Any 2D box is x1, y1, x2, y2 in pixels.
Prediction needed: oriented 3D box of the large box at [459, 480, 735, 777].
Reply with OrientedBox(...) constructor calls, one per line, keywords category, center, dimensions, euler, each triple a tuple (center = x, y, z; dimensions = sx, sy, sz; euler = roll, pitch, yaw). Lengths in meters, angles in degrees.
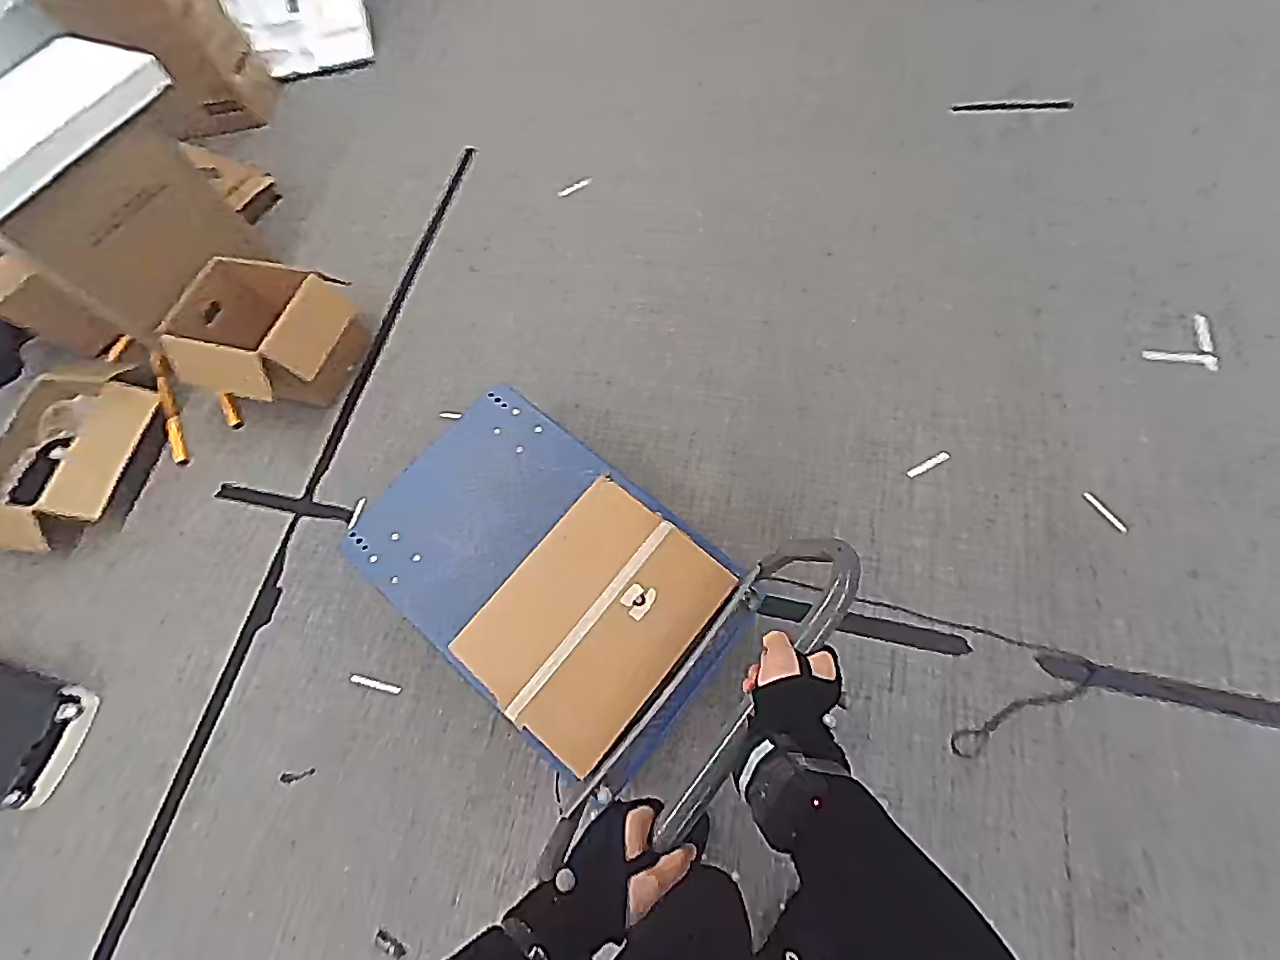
OrientedBox(category="large box", center=(-0.065, 0.285, 1.064), dimensions=(0.320, 0.320, 0.408), euler=(37, 77, 14))
